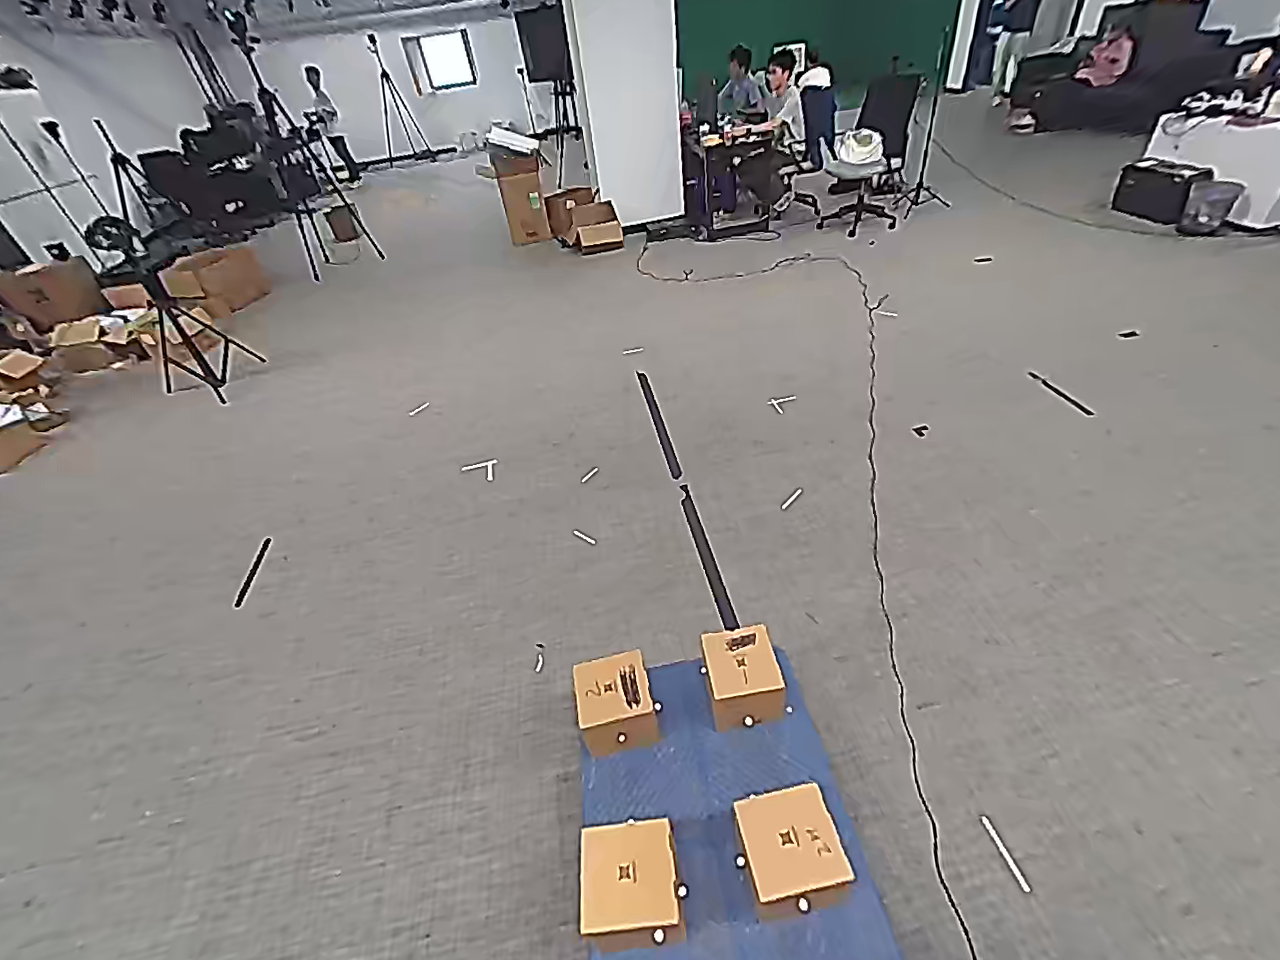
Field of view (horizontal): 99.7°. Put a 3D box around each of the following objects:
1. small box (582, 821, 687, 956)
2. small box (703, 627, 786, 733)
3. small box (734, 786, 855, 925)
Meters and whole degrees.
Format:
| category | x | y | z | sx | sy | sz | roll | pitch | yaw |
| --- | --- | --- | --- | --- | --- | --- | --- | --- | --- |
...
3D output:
| category | x | y | z | sx | sy | sz | roll | pitch | yaw |
| --- | --- | --- | --- | --- | --- | --- | --- | --- | --- |
| small box | -0.010 | 0.792 | 1.047 | 0.179 | 0.176 | 0.168 | -8 | 39 | 0 |
| small box | 0.254 | 0.498 | 1.344 | 0.168 | 0.176 | 0.179 | -10 | 41 | 0 |
| small box | 0.294 | 0.733 | 1.054 | 0.179 | 0.176 | 0.168 | -12 | 40 | -2 |
